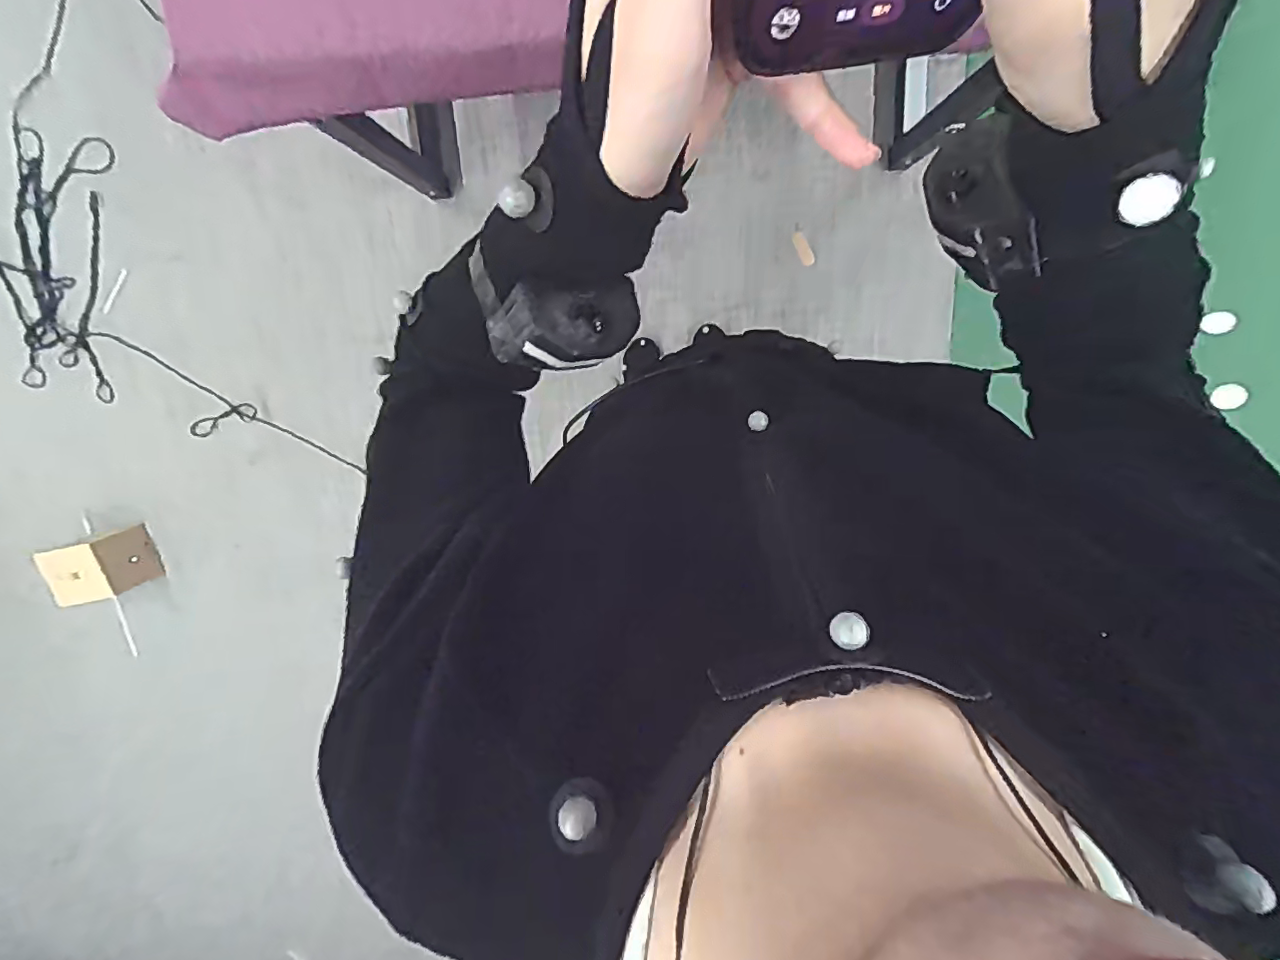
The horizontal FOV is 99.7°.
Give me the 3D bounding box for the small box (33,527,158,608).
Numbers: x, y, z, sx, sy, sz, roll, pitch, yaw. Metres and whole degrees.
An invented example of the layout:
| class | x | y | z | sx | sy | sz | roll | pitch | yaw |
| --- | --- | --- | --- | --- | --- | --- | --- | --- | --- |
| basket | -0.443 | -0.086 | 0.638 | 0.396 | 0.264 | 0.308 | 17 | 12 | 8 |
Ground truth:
| class | x | y | z | sx | sy | sz | roll | pitch | yaw |
| --- | --- | --- | --- | --- | --- | --- | --- | --- | --- |
| small box | -1.555 | 0.246 | 1.562 | 0.179 | 0.176 | 0.168 | -10 | 103 | 5 |
